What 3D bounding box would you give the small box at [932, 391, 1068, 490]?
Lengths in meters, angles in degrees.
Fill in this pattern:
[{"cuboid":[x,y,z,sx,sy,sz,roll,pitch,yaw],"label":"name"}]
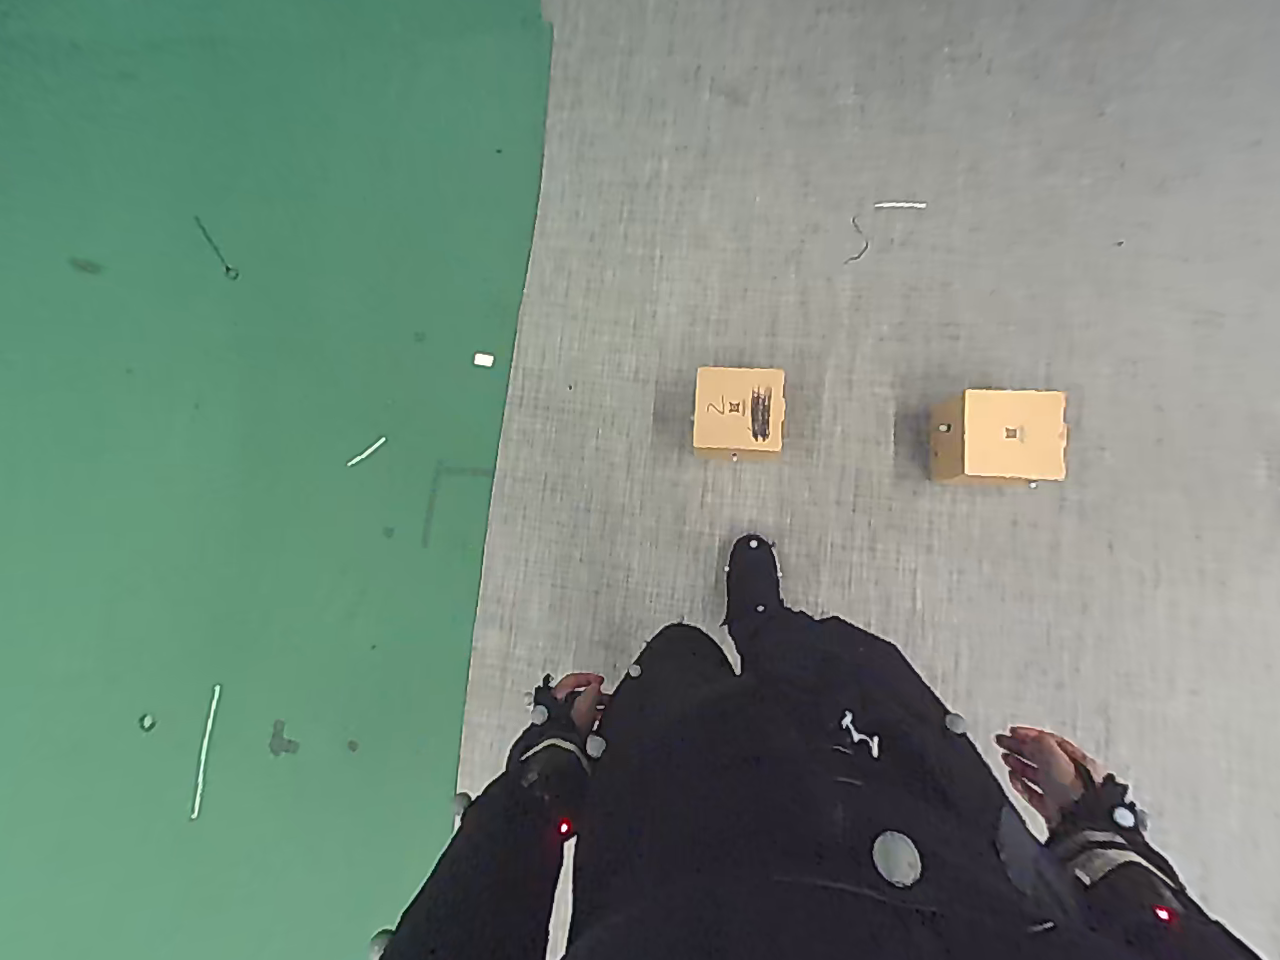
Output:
[{"cuboid":[0.699,-0.072,1.069,0.179,0.176,0.168,3,84,7],"label":"small box"}]
